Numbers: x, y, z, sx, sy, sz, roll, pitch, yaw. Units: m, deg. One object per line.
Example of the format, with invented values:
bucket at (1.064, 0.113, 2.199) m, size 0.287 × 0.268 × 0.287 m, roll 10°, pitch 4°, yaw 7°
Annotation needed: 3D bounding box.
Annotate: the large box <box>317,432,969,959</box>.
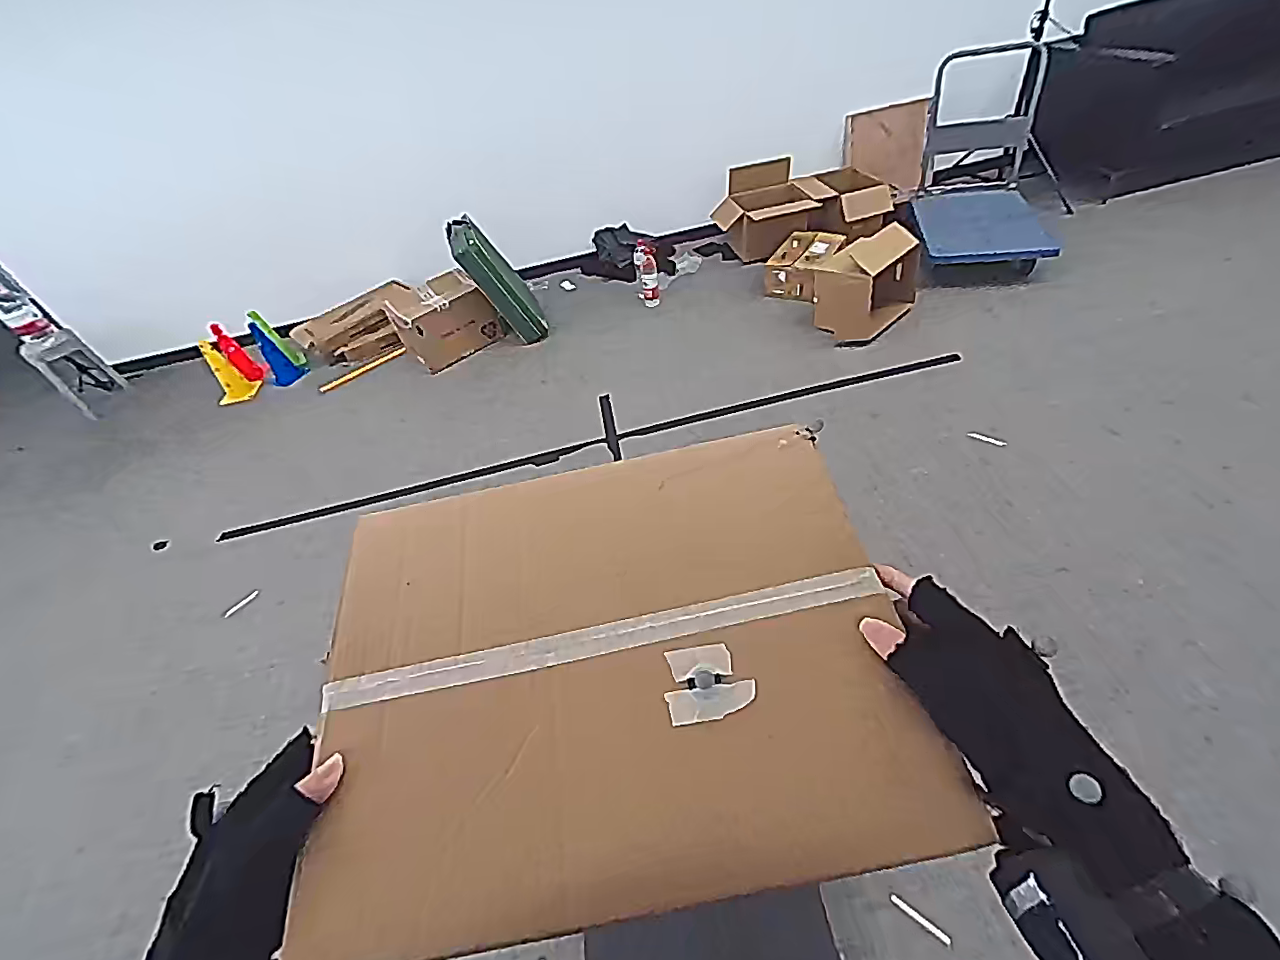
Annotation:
large box at (-0.006, 0.204, 0.523) m, size 0.408 × 0.320 × 0.320 m, roll -12°, pitch 54°, yaw 0°
